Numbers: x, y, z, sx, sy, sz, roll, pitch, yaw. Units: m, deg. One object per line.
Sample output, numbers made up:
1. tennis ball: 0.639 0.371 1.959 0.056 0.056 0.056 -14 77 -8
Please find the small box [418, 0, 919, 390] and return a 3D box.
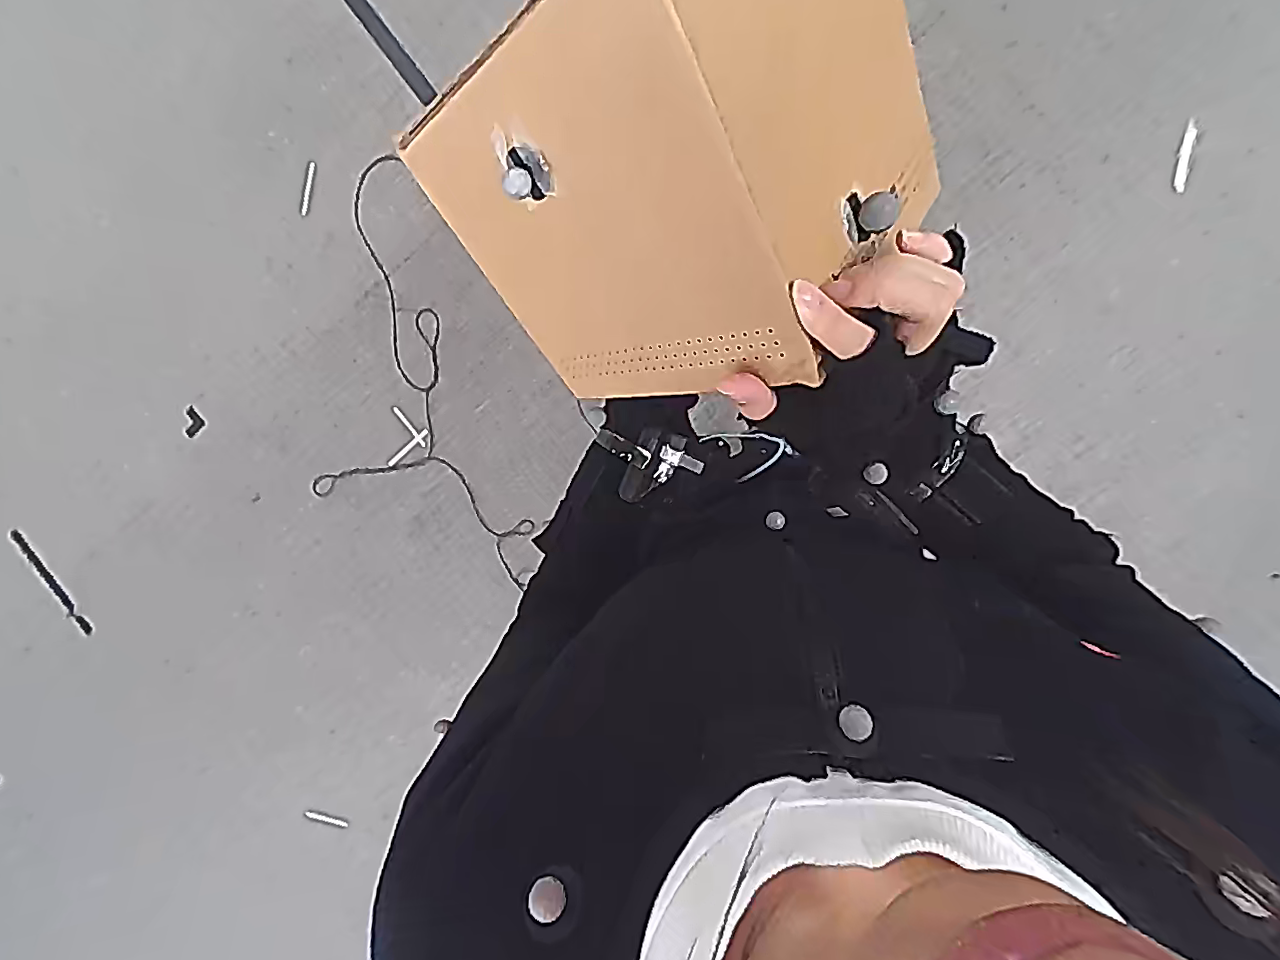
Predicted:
1. small box: 0.024 -0.164 0.299 0.168 0.179 0.176 -55 127 -25
